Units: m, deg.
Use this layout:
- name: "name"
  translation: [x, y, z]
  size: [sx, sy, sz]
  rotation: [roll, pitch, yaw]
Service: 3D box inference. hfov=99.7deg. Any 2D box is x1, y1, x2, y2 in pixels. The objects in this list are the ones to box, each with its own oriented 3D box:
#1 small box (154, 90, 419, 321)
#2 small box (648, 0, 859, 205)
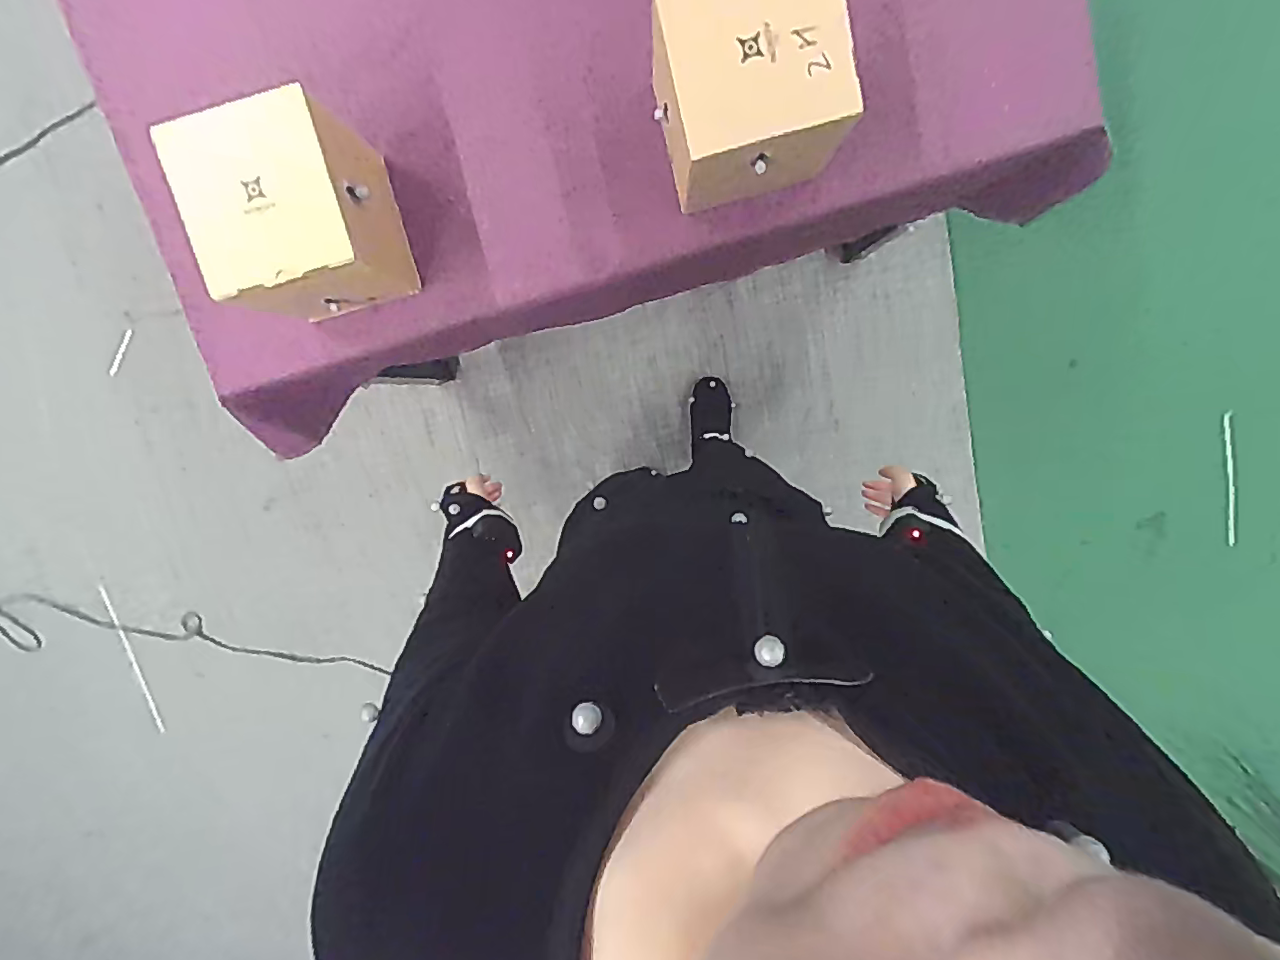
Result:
- name: "small box"
  translation: [-0.391, -0.300, 0.633]
  size: [0.168, 0.176, 0.179]
  rotation: [-15, 100, 3]
- name: "small box"
  translation: [0.114, -0.429, 0.596]
  size: [0.179, 0.176, 0.168]
  rotation: [-14, 100, 4]
